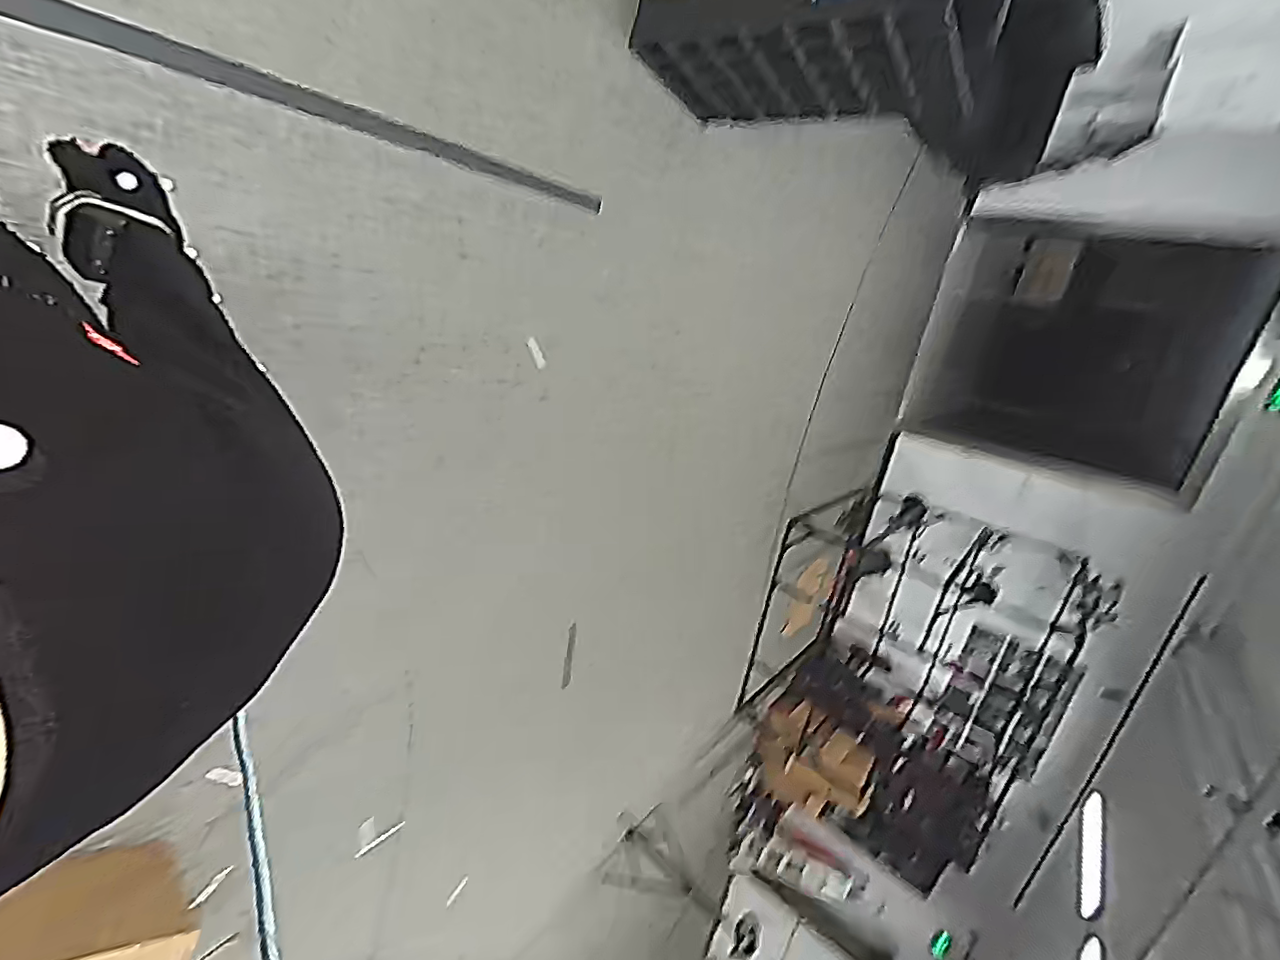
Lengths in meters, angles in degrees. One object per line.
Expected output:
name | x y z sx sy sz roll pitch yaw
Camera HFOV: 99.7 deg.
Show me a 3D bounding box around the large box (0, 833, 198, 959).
large box | -1.361 1.083 1.239 0.320 0.320 0.408 -61 145 -9
